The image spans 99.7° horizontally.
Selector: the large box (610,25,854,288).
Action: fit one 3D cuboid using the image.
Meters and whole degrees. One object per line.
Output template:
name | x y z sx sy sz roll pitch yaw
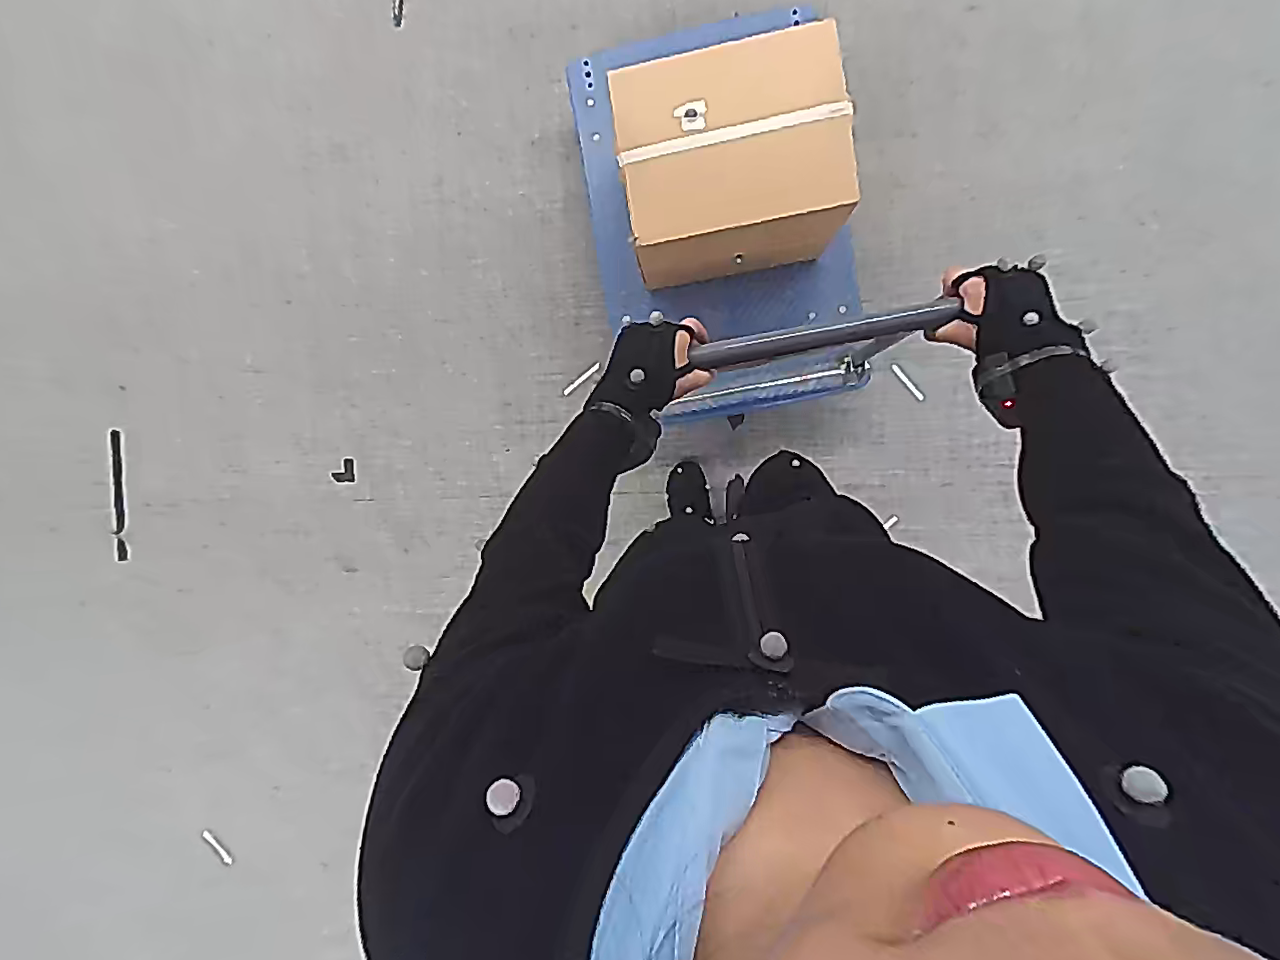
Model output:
large box | 0.181 -0.629 1.127 0.408 0.320 0.320 -10 93 7
